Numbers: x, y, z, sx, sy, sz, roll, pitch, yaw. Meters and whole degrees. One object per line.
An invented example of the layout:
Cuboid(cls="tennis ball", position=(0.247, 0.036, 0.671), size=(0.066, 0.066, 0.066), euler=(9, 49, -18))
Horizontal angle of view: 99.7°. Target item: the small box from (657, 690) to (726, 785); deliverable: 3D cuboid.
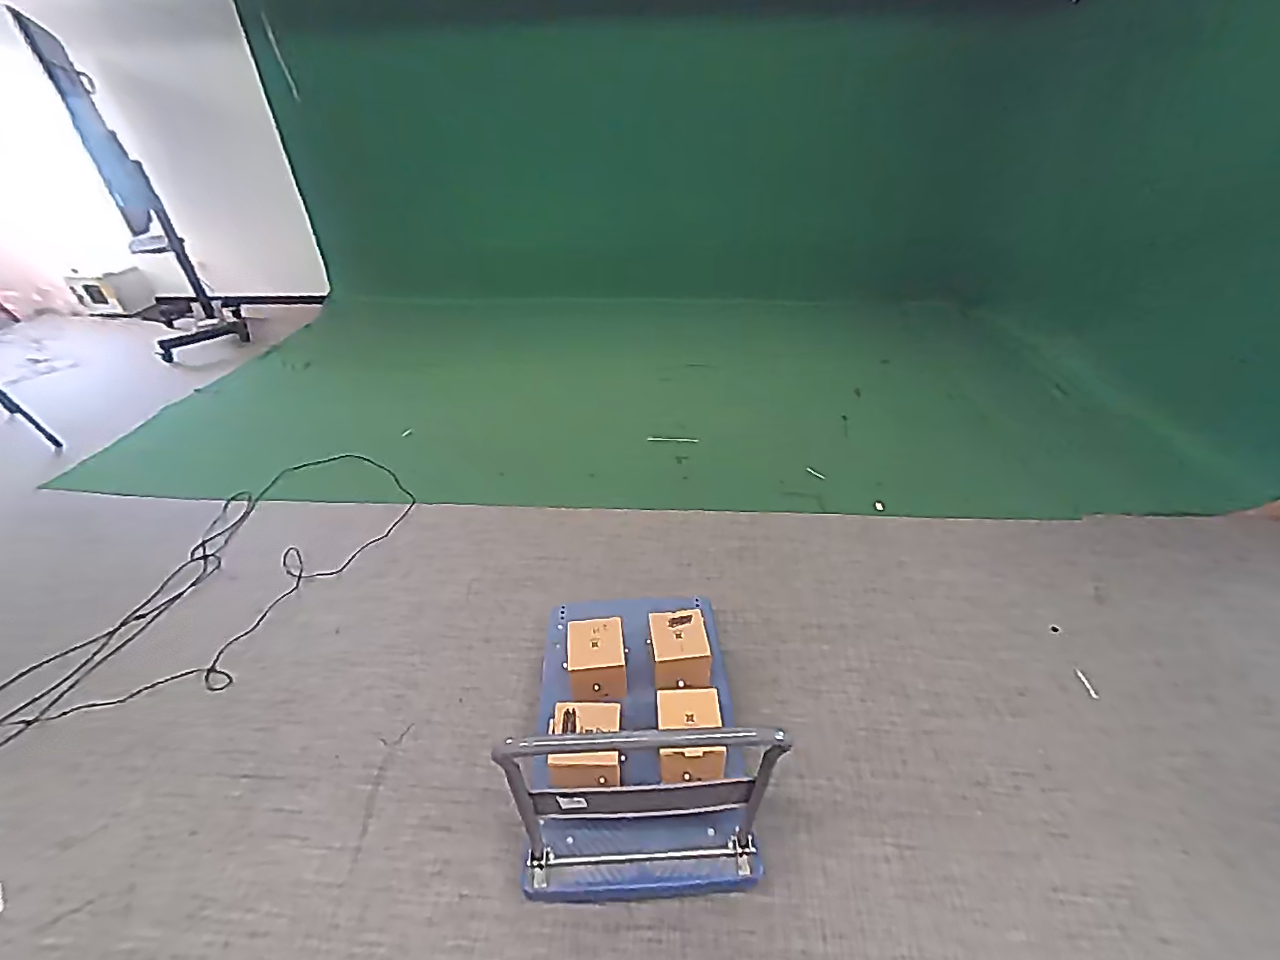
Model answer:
Cuboid(cls="small box", position=(0.131, 0.691, 1.452), size=(0.168, 0.176, 0.179), euler=(-1, 37, -1))

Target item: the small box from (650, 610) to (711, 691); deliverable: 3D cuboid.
Cuboid(cls="small box", position=(0.119, 0.528, 1.668), size=(0.168, 0.176, 0.179), euler=(-5, 38, -4))

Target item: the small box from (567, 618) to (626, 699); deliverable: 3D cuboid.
Cuboid(cls="small box", position=(-0.131, 0.549, 1.647), size=(0.168, 0.176, 0.179), euler=(-4, 37, -5))
